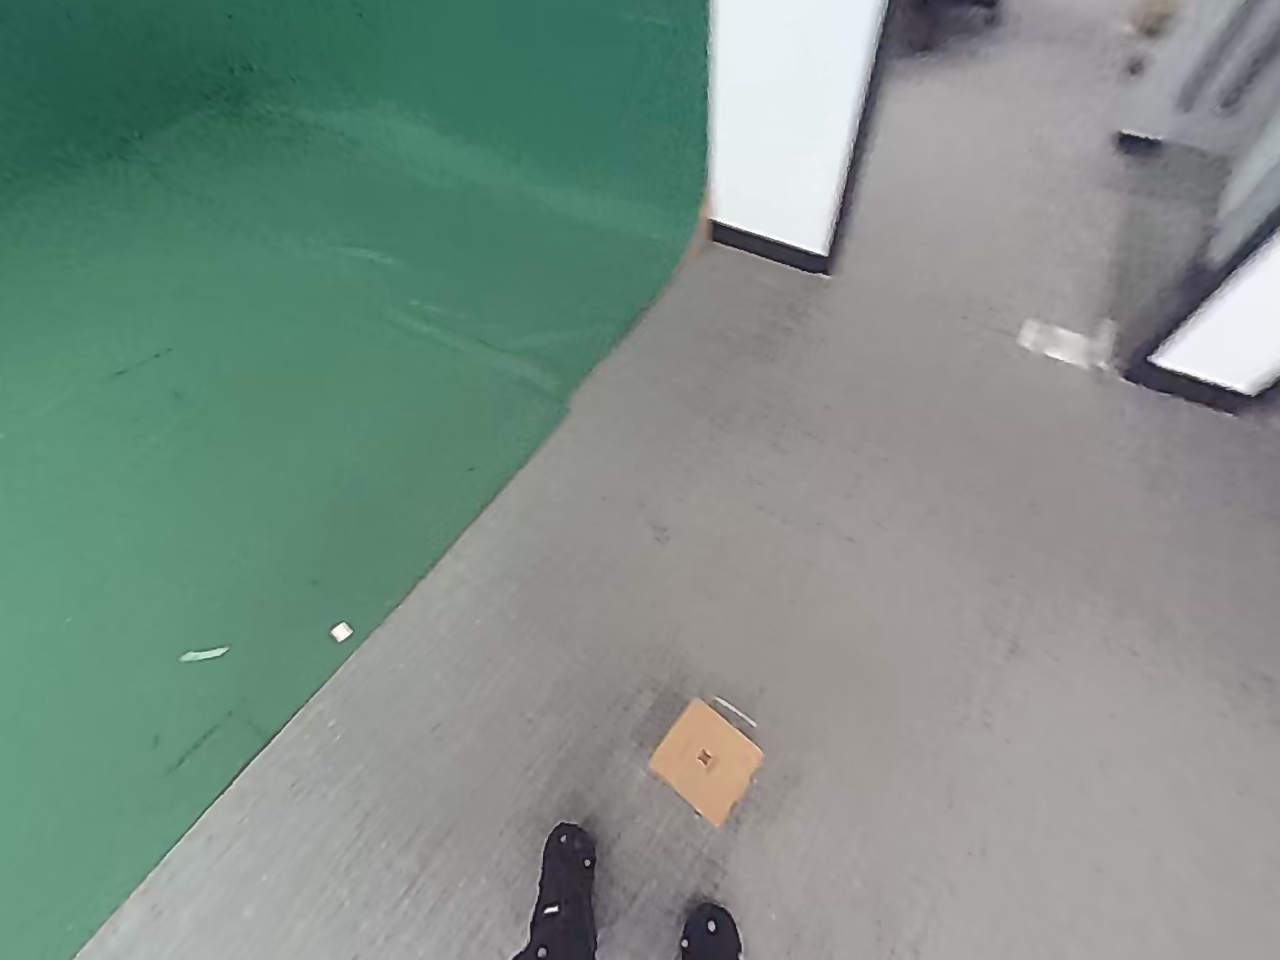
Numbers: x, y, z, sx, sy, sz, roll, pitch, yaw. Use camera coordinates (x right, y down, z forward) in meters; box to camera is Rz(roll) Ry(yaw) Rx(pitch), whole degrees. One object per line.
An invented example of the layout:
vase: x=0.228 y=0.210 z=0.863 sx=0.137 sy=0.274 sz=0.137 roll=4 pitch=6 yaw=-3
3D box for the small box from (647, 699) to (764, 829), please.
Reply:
small box: x=0.138 y=0.595 z=1.137 sx=0.179 sy=0.176 sz=0.168 roll=33 pitch=67 yaw=24
